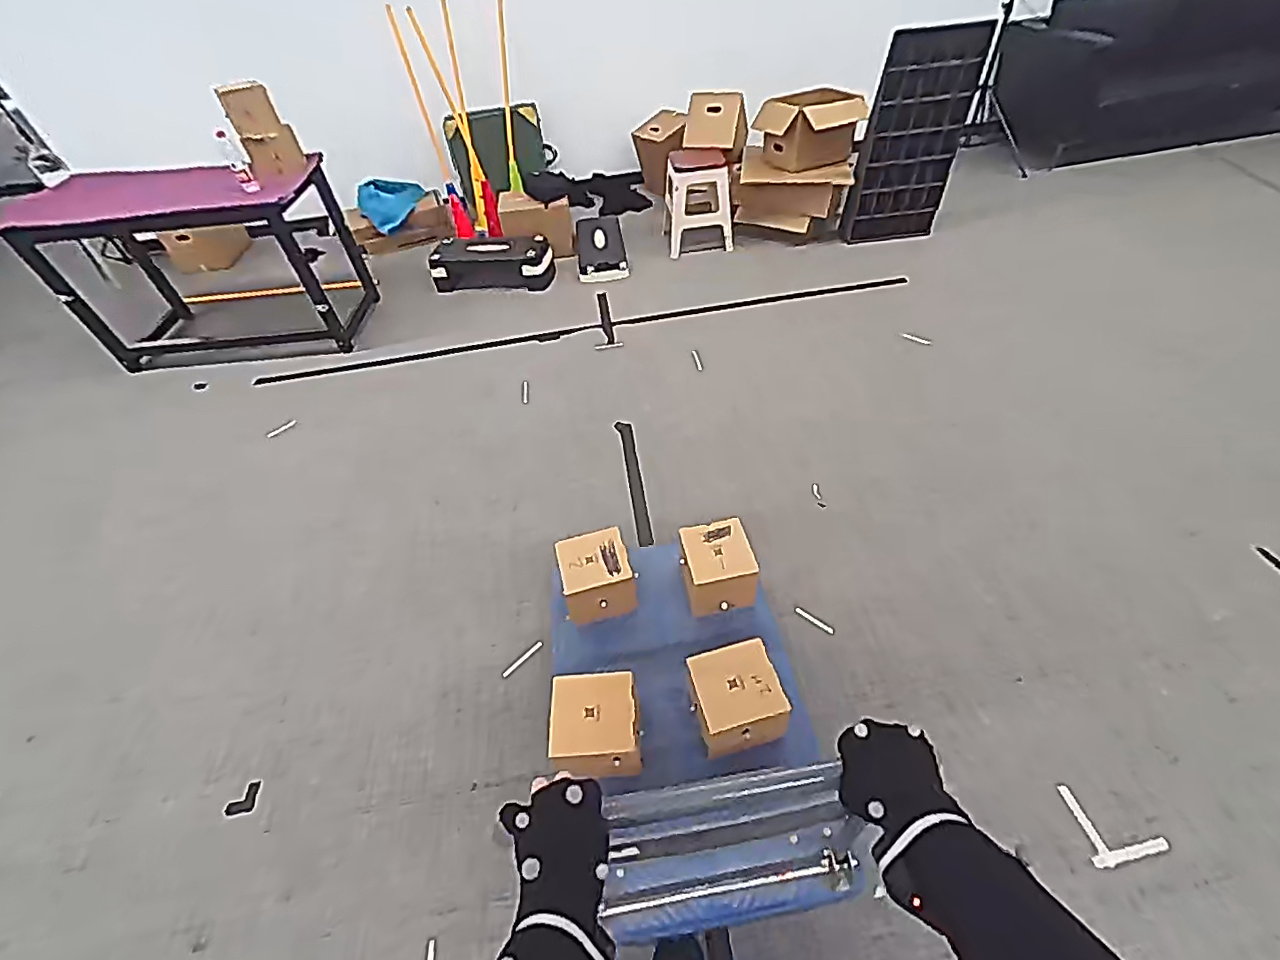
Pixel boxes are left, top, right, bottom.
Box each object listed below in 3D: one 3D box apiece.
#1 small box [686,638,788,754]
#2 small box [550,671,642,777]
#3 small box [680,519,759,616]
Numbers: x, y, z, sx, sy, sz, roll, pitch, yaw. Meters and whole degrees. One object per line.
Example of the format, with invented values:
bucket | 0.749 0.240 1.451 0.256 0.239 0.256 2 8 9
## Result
small box | 0.211 0.483 1.201 0.179 0.176 0.168 -14 47 -6
small box | -0.091 0.539 1.188 0.179 0.176 0.168 -4 47 1
small box | 0.203 0.233 1.433 0.168 0.176 0.179 -11 48 -4
